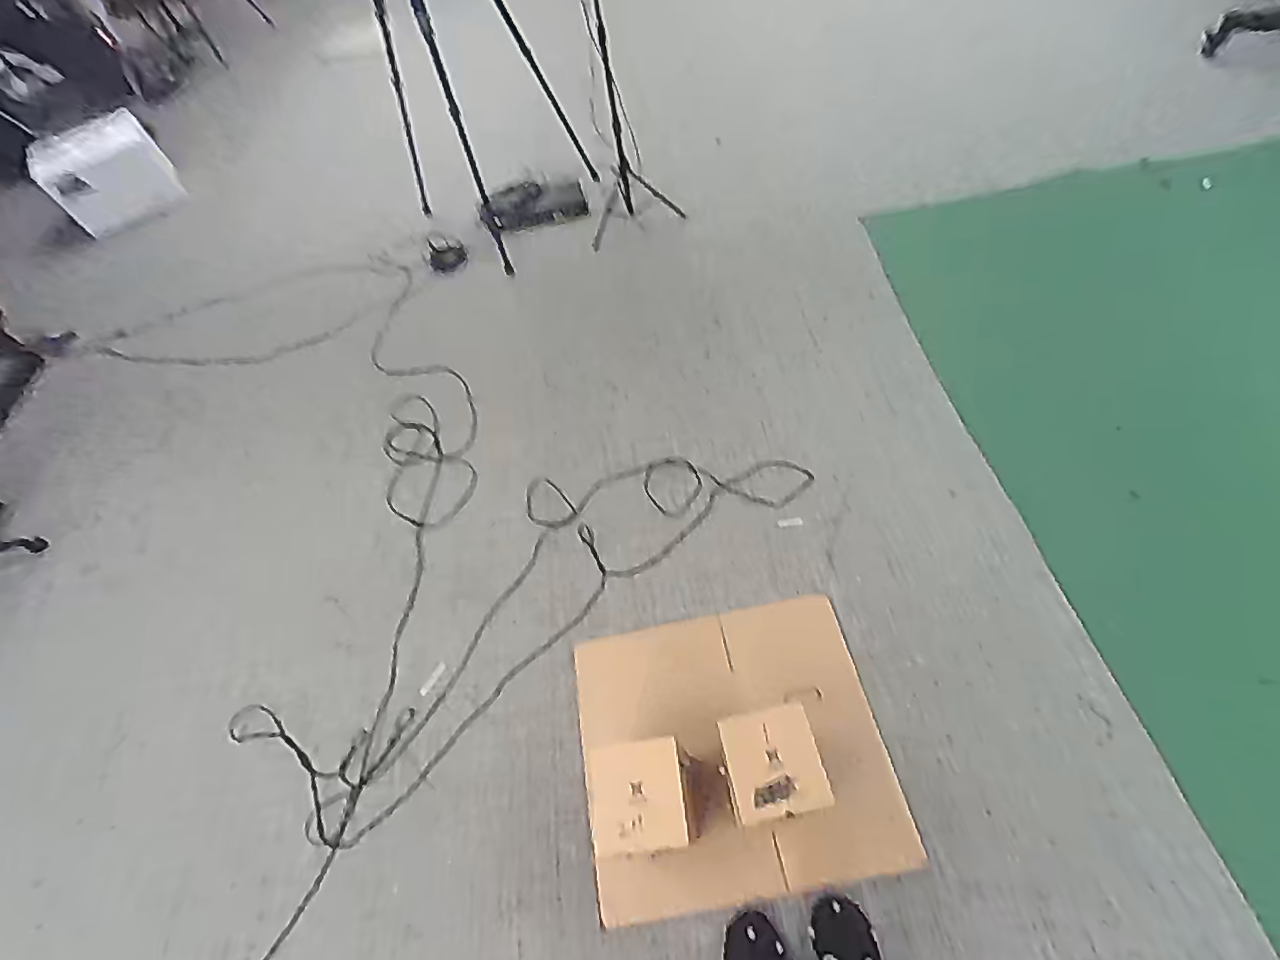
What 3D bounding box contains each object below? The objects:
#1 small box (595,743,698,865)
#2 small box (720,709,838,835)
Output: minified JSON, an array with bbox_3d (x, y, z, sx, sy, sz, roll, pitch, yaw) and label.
[{"bbox_3d":[0.014,0.618,1.029,0.168,0.176,0.179,-10,56,4],"label":"small box"},{"bbox_3d":[0.256,0.558,1.030,0.168,0.176,0.179,-13,56,1],"label":"small box"}]
